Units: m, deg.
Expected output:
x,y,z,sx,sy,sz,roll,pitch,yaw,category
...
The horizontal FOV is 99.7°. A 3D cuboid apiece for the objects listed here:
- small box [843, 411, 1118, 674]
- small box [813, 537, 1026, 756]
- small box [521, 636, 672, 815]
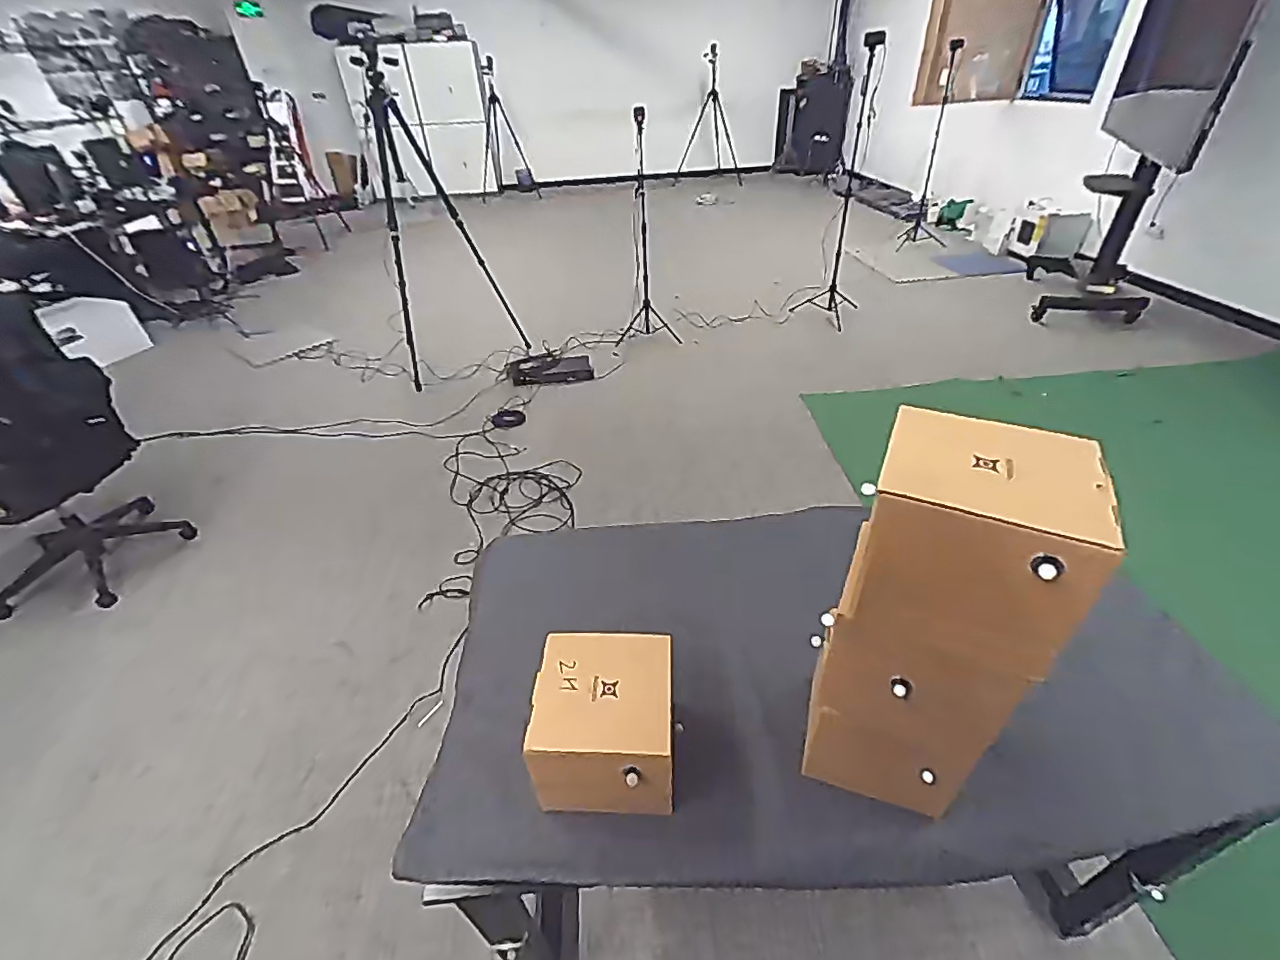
x,y,z,sx,sy,sz,roll,pitch,yaw,category
0.311,0.056,0.528,0.179,0.176,0.168,16,40,23,small box
0.316,0.184,0.627,0.179,0.176,0.168,15,40,24,small box
-0.045,0.332,0.733,0.179,0.176,0.168,-1,38,4,small box
